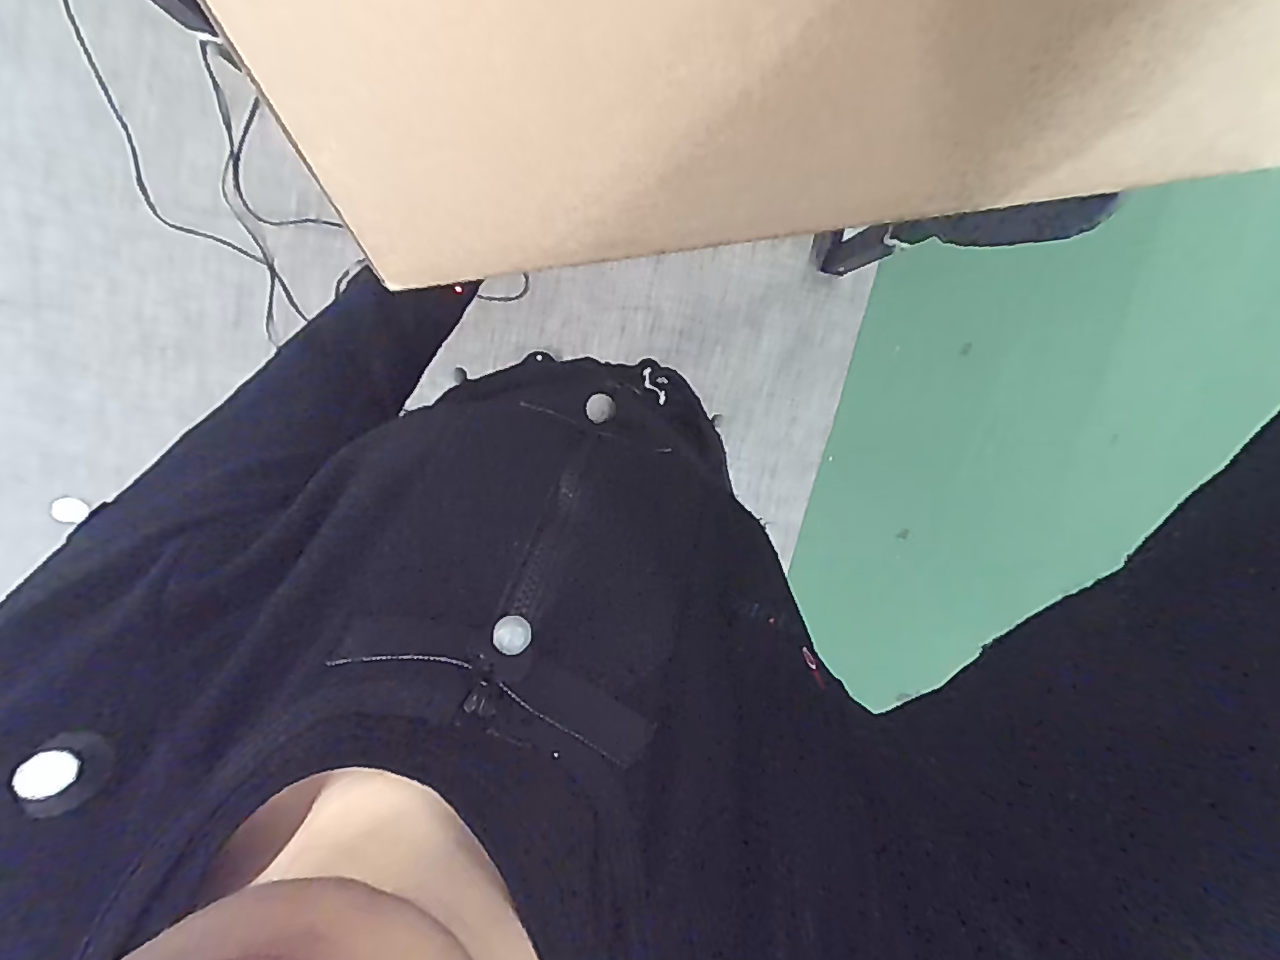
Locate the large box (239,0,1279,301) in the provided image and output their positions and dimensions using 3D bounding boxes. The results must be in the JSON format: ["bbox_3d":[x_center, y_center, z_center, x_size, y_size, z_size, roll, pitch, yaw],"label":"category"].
[{"bbox_3d":[0.044,-0.326,0.254,0.408,0.320,0.320,-3,139,18],"label":"large box"}]
